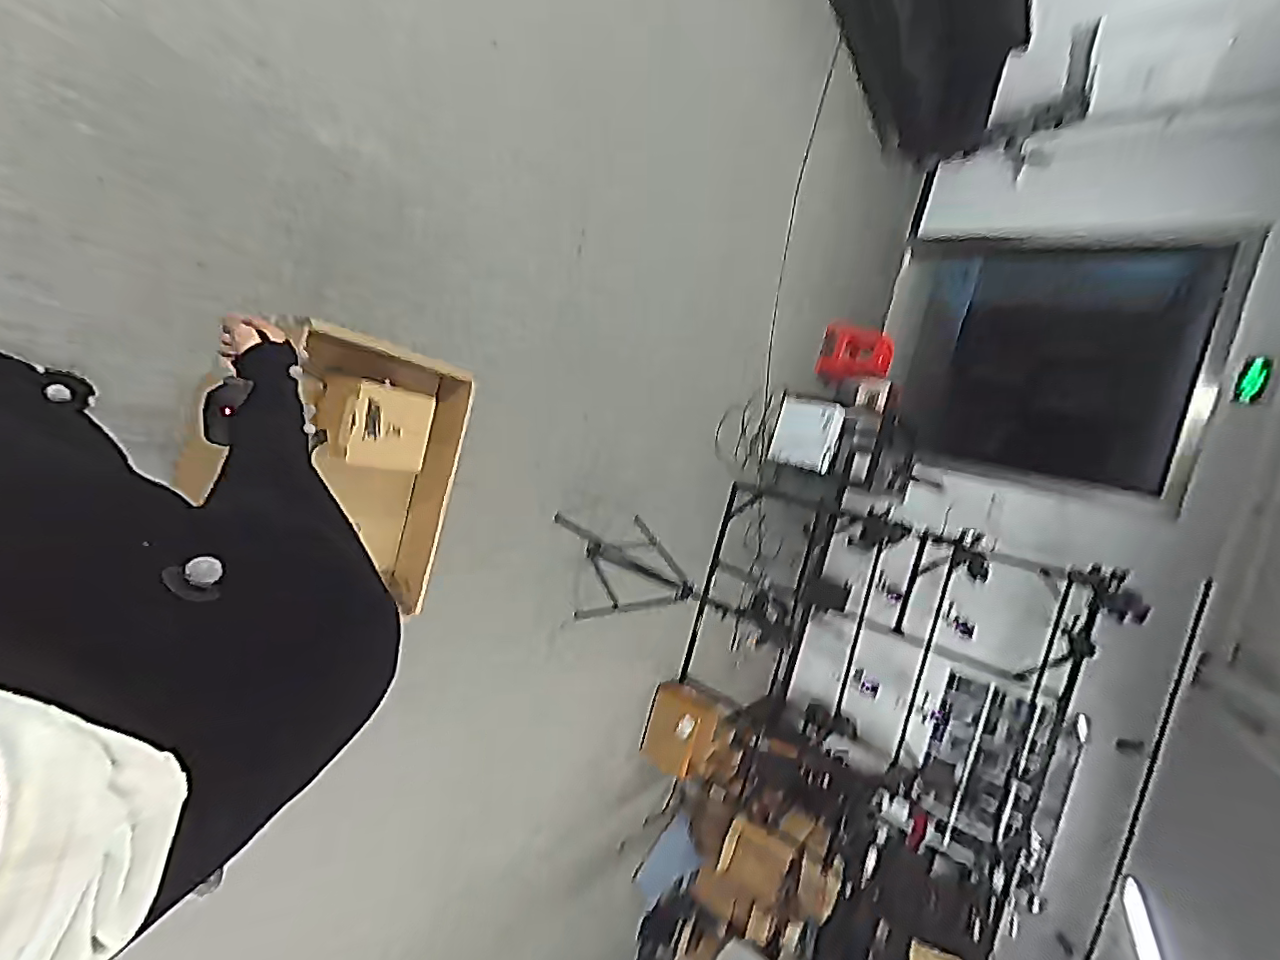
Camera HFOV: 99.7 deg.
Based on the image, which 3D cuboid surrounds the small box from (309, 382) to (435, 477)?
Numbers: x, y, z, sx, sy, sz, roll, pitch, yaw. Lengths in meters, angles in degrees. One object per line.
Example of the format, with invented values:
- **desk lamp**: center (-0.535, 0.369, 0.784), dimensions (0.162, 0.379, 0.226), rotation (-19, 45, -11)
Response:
- **small box**: center (-0.585, -0.112, 1.178), dimensions (0.179, 0.176, 0.168), rotation (11, 94, -55)
